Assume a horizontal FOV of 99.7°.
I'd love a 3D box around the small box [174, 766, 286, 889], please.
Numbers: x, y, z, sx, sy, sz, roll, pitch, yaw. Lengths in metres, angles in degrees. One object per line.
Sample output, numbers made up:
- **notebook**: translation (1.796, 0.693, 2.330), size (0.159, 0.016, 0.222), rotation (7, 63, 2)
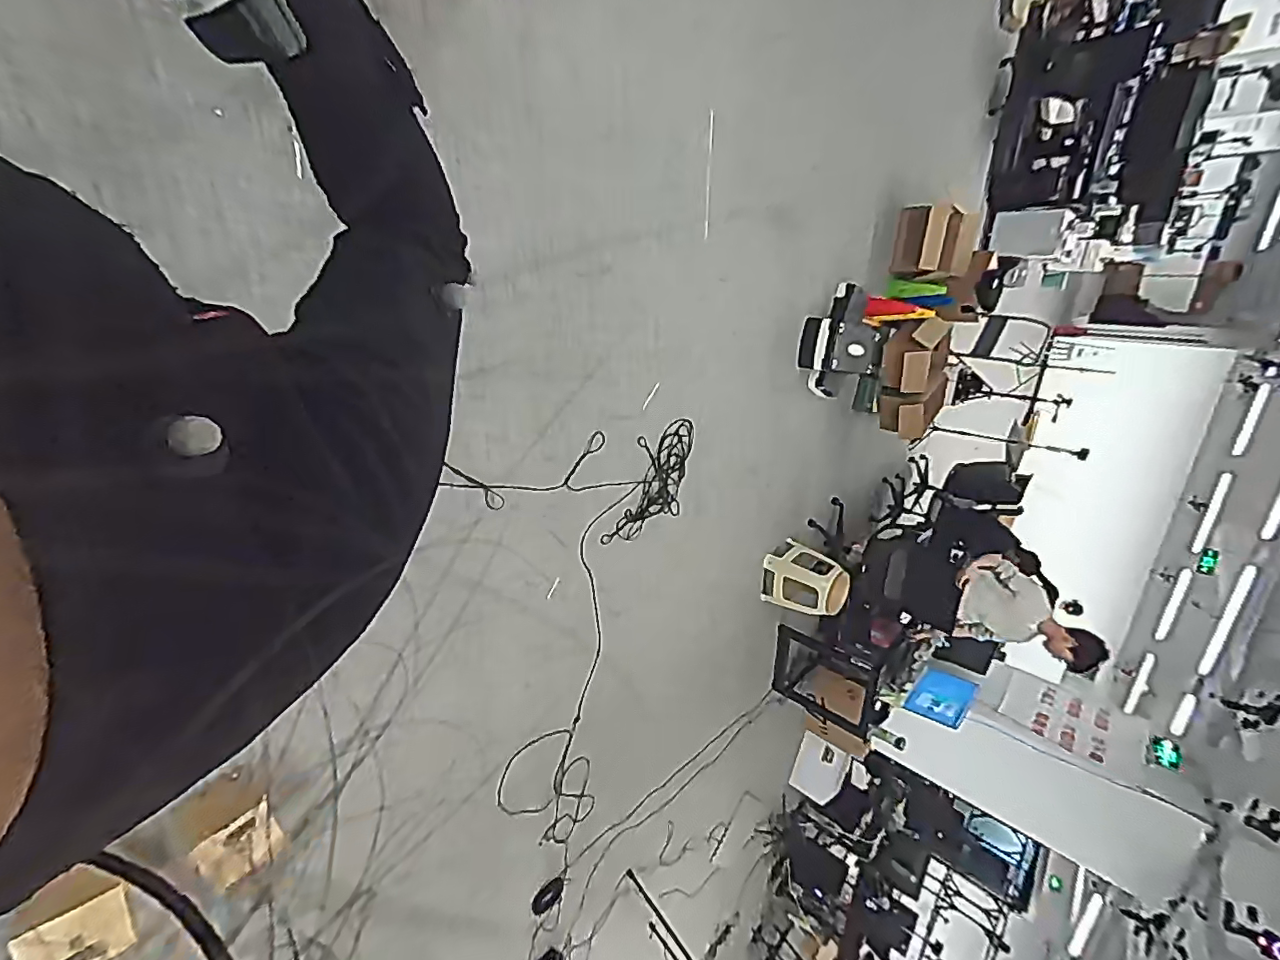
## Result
- **small box**: translation (-1.045, 0.869, 1.377), size (0.168, 0.176, 0.179), rotation (-28, 125, -39)
